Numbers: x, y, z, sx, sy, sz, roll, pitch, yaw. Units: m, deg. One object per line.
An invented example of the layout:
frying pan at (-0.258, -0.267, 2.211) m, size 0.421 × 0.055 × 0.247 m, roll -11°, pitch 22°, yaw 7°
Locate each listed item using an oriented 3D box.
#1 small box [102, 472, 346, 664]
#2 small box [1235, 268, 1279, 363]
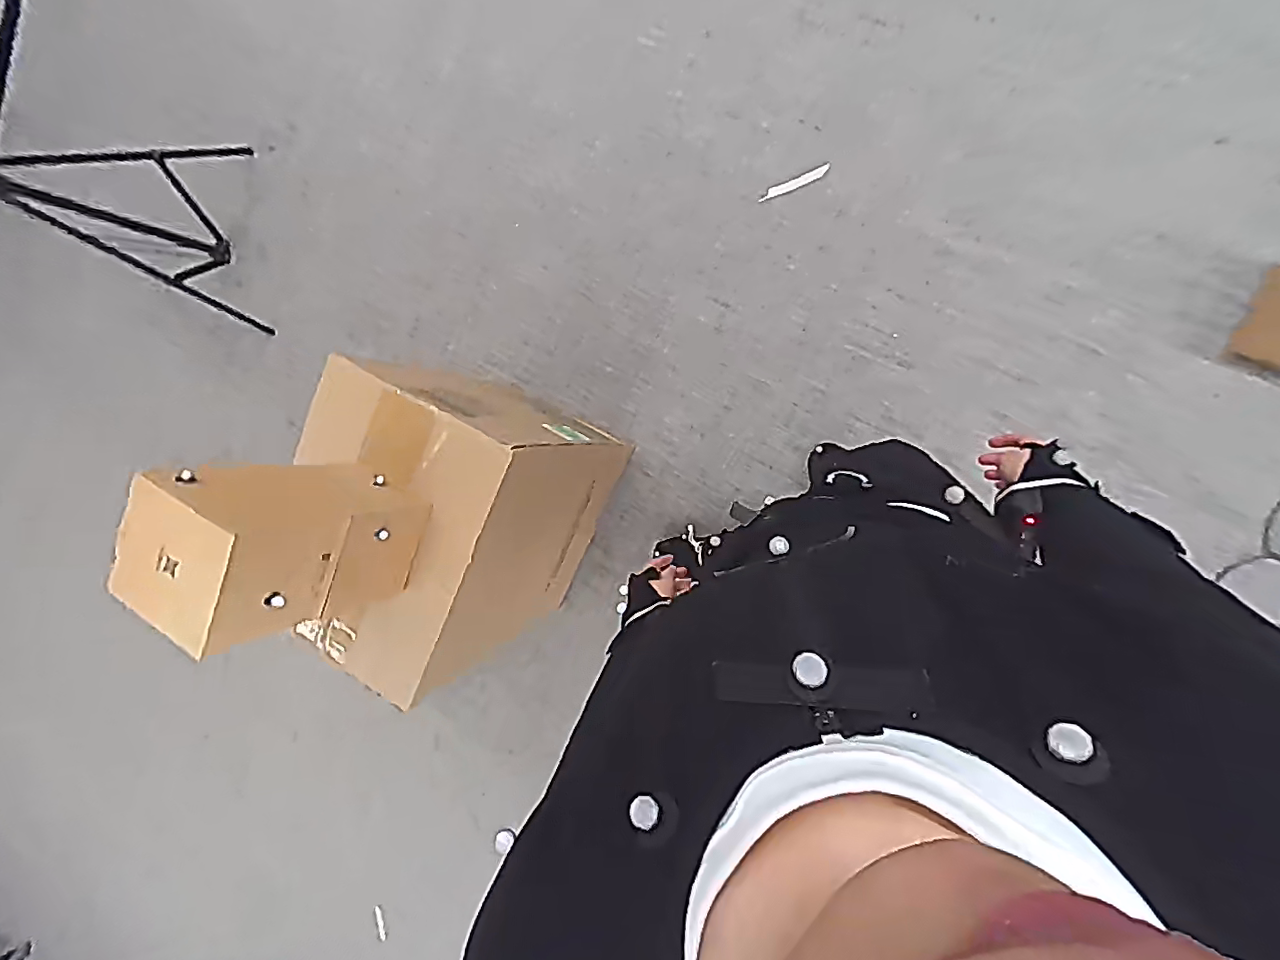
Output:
small box at (-0.521, 0.095, 0.694) m, size 0.179 × 0.176 × 0.168 m, roll 26°, pitch 101°, yaw 14°
small box at (1.223, -0.299, 0.940) m, size 0.168 × 0.176 × 0.179 m, roll 27°, pitch 102°, yaw 14°
